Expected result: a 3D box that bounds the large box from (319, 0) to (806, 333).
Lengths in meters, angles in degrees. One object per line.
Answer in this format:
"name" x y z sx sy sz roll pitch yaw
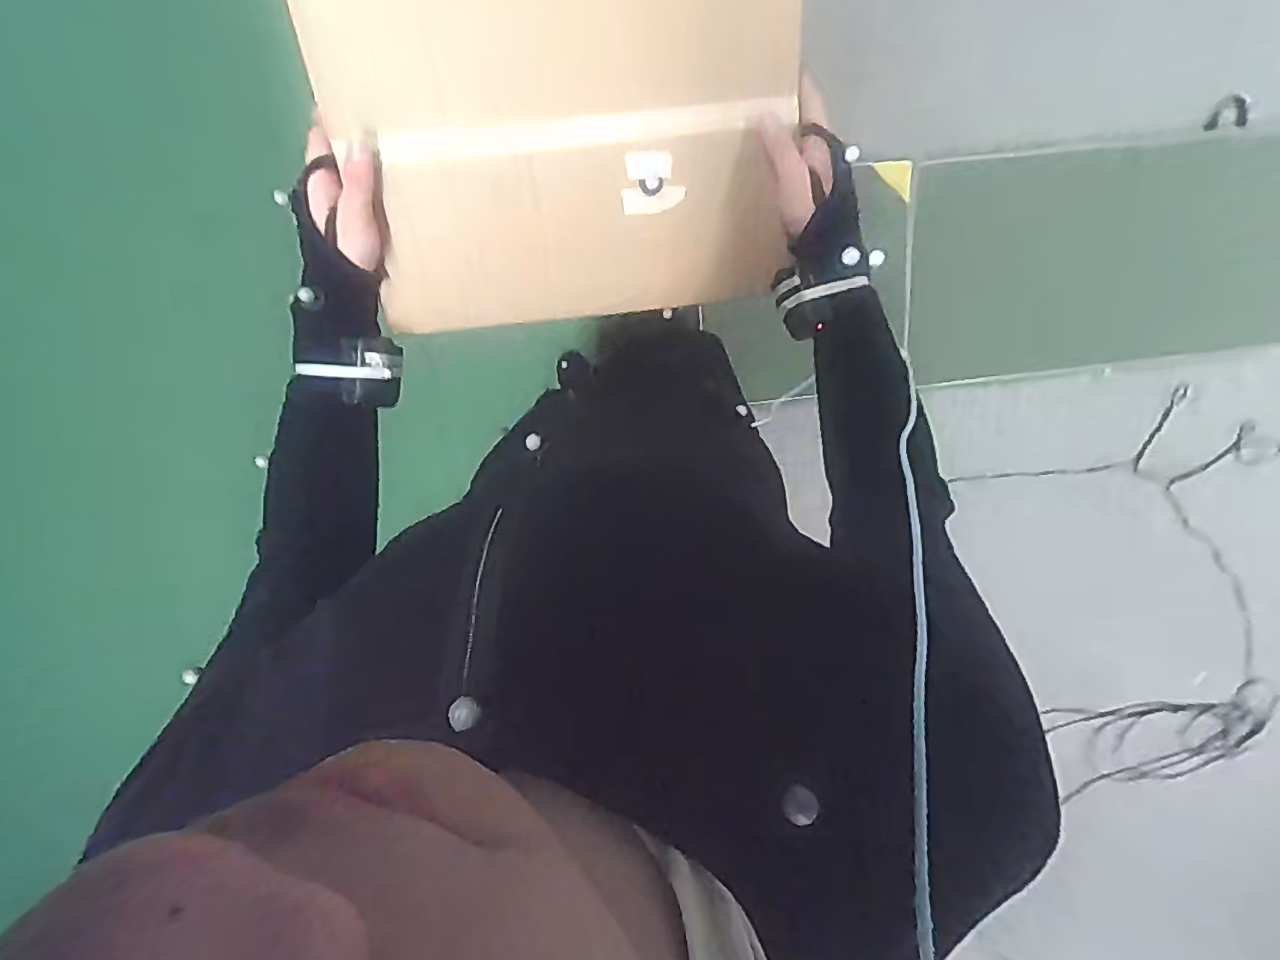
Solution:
"large box" -0.064 -0.372 0.618 0.408 0.320 0.320 -6 117 -3
